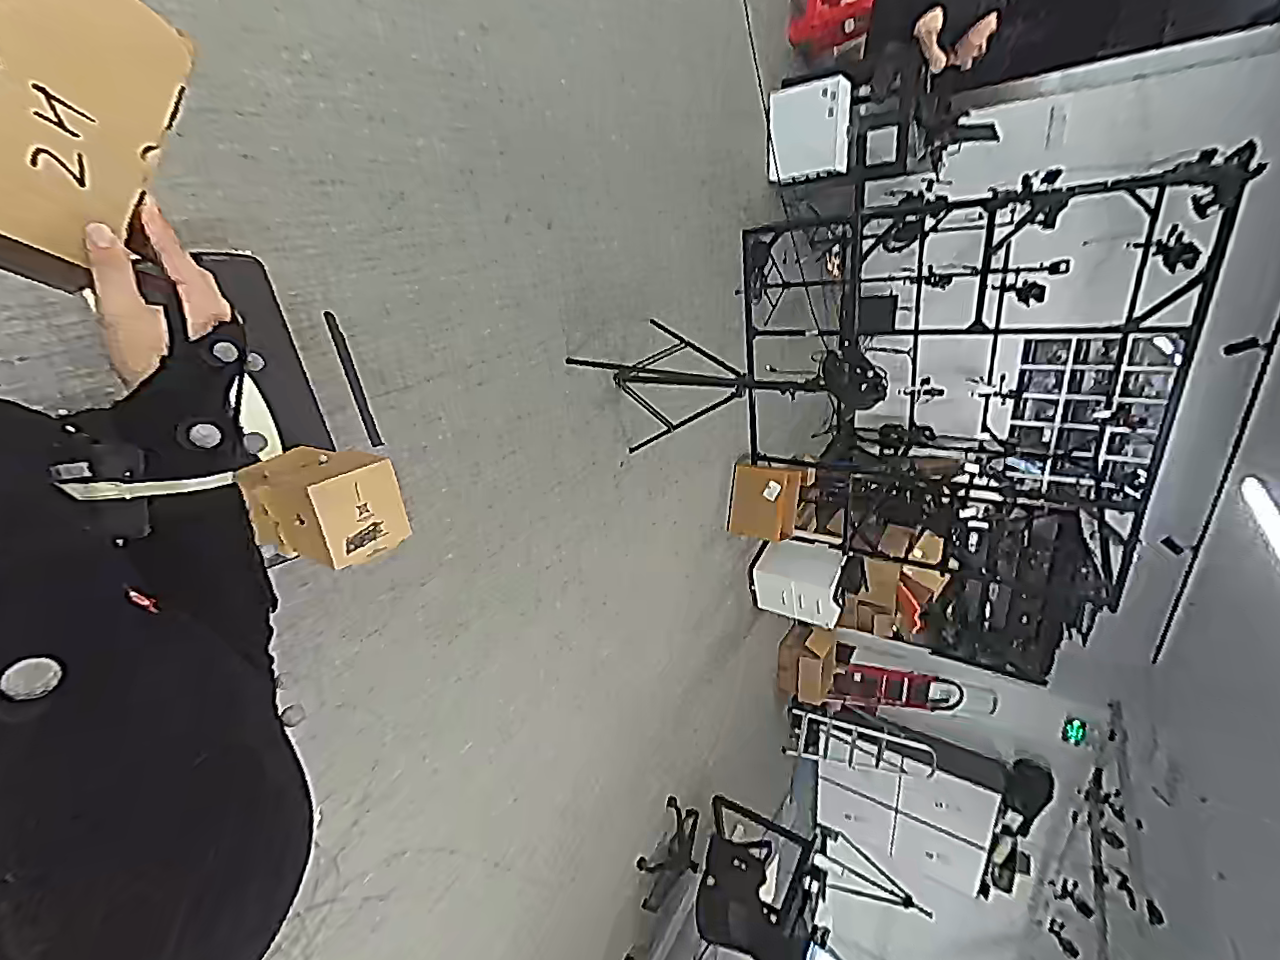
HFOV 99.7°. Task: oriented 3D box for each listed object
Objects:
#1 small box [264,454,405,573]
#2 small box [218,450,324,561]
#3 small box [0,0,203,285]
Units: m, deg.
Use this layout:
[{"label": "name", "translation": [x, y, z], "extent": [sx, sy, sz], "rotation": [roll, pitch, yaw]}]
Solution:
[{"label": "small box", "translation": [-0.609, 0.058, 1.085], "extent": [0.168, 0.176, 0.179], "rotation": [-32, 123, -49]}, {"label": "small box", "translation": [-0.753, 0.045, 1.165], "extent": [0.179, 0.176, 0.168], "rotation": [-38, 129, -45]}, {"label": "small box", "translation": [-0.416, -0.232, 0.323], "extent": [0.179, 0.176, 0.168], "rotation": [23, 80, -53]}]
